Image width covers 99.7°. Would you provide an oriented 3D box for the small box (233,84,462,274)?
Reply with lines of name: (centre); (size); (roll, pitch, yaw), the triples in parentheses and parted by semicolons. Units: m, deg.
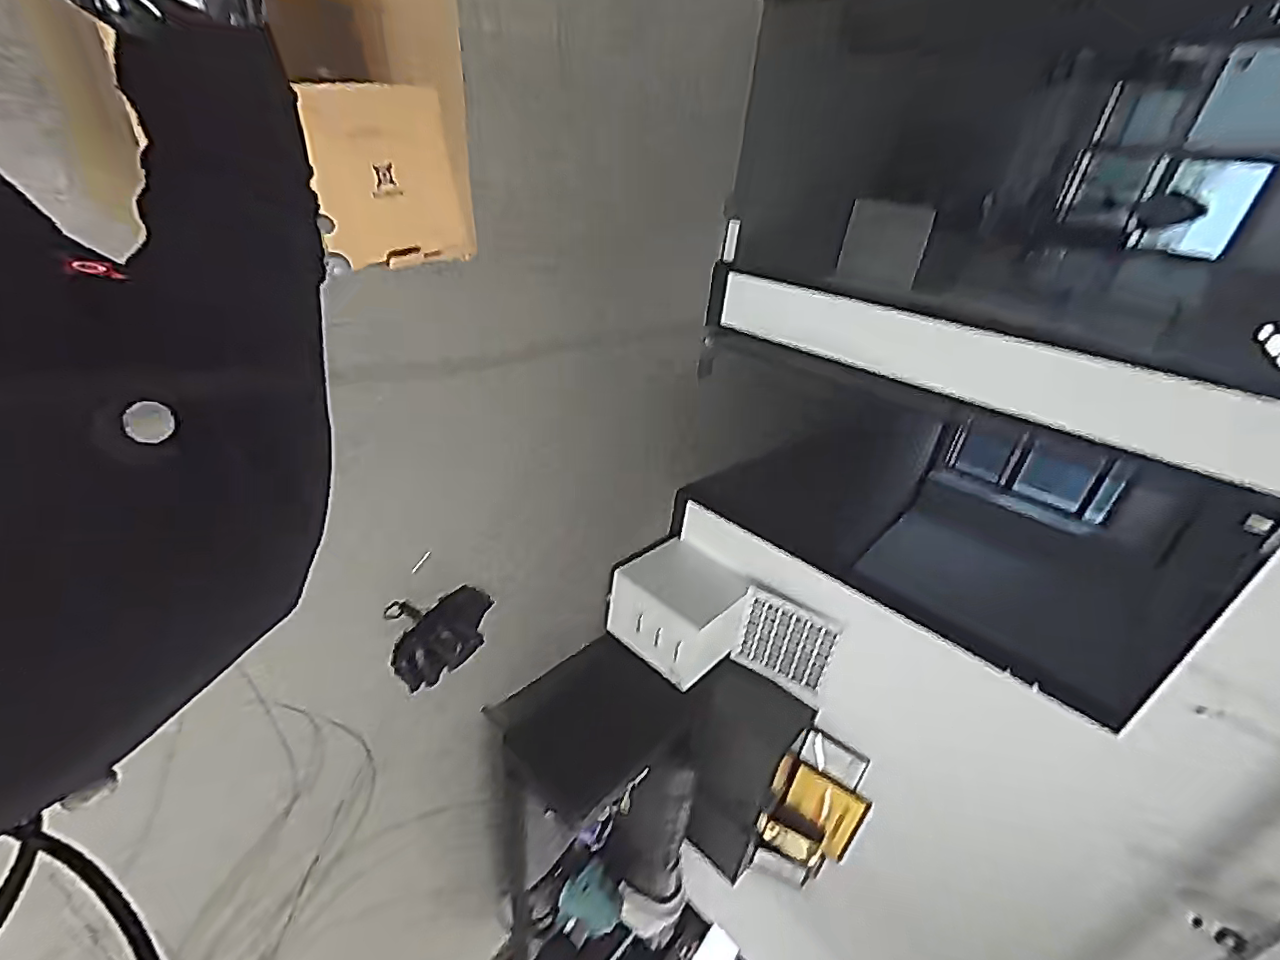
small box: (-0.345, -0.366, 0.651); (0.168, 0.176, 0.179); (-31, 135, -35)
